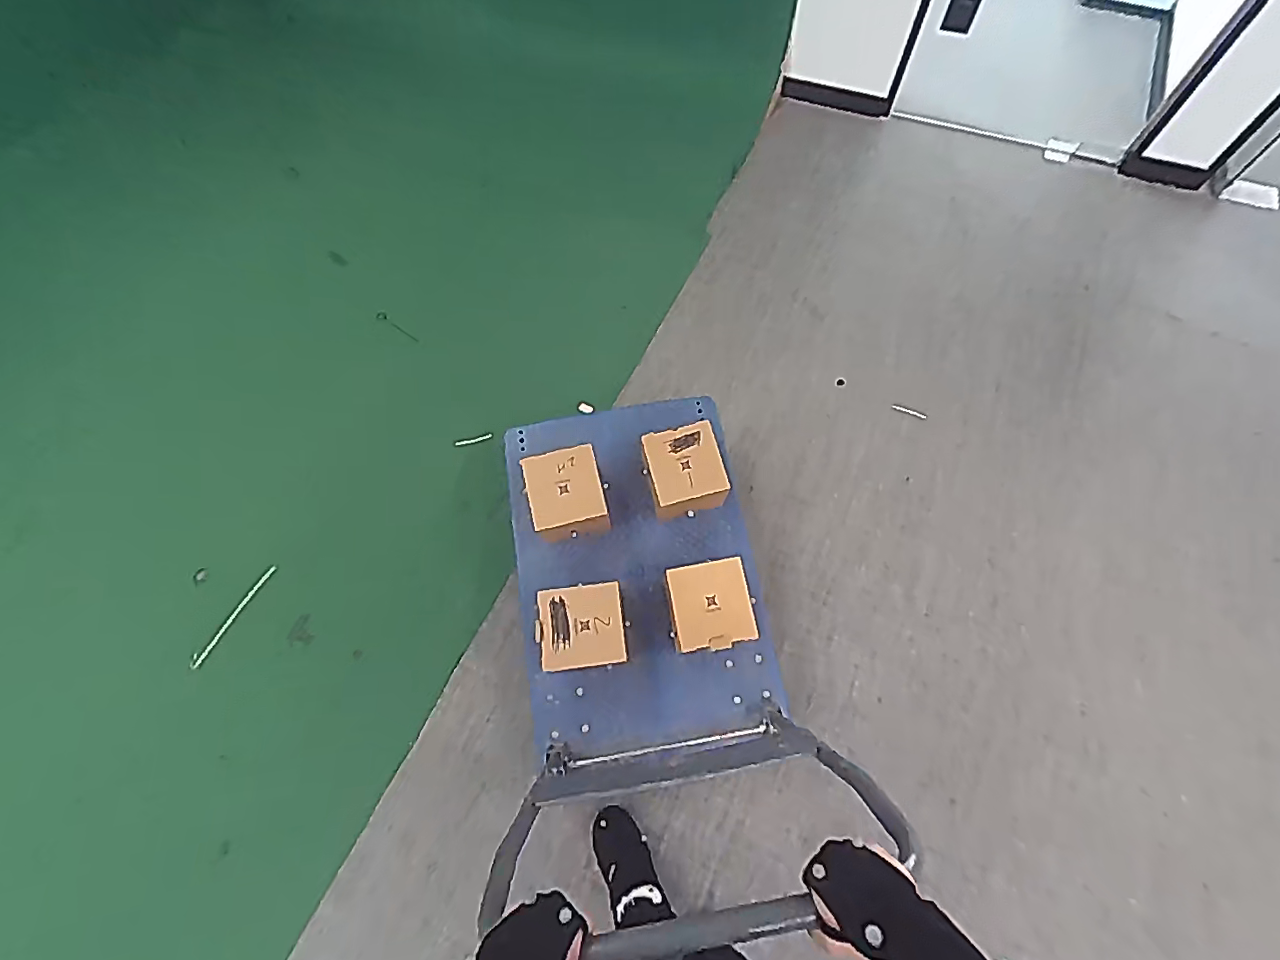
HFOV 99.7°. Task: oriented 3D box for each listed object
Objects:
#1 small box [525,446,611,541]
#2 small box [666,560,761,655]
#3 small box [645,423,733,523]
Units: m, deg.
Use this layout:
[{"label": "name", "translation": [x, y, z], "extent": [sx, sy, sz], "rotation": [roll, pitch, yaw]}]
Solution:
[{"label": "small box", "translation": [-0.164, 0.041, 1.279], "extent": [0.168, 0.176, 0.179], "rotation": [-12, 74, -5]}, {"label": "small box", "translation": [0.154, 0.289, 1.209], "extent": [0.168, 0.176, 0.179], "rotation": [-10, 74, -3]}, {"label": "small box", "translation": [0.110, -0.012, 1.296], "extent": [0.168, 0.176, 0.179], "rotation": [-14, 75, -4]}]
